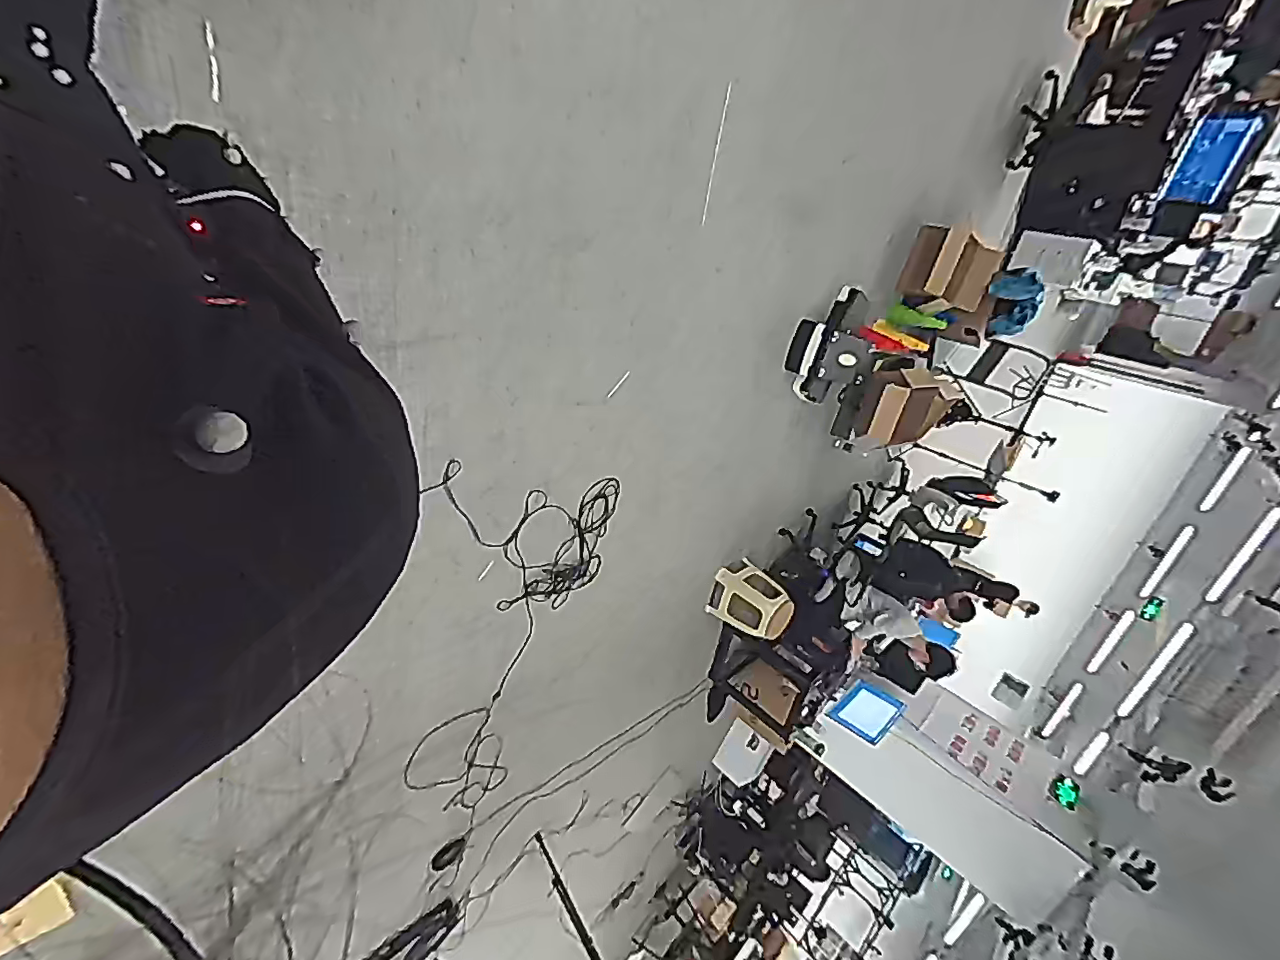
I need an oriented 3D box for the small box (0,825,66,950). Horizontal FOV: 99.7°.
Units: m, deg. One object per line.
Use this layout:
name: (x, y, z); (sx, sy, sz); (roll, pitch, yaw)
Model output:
small box: (-1.512, 0.982, 1.294); (0.168, 0.176, 0.179); (-14, 124, -45)
